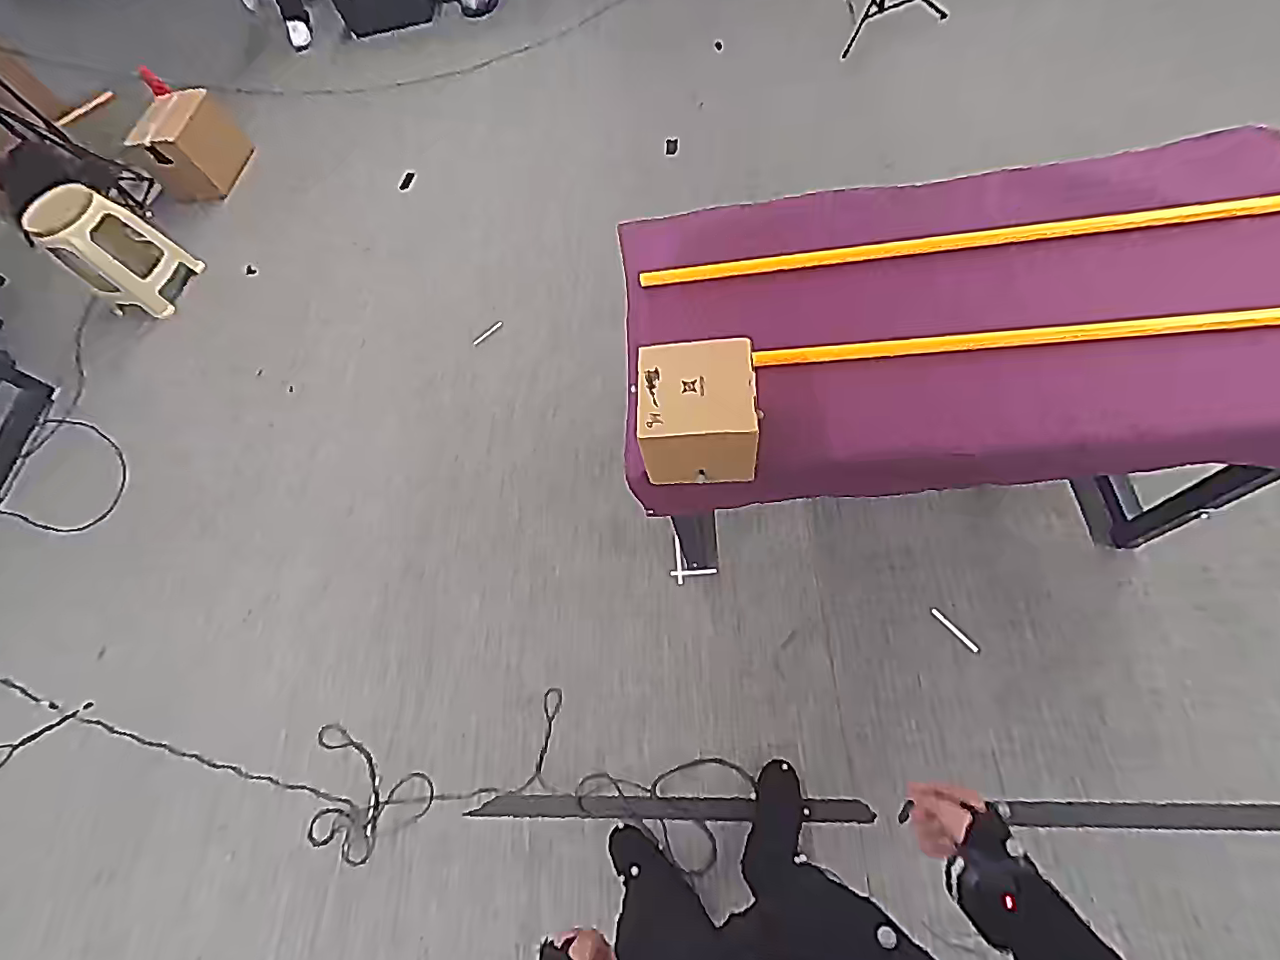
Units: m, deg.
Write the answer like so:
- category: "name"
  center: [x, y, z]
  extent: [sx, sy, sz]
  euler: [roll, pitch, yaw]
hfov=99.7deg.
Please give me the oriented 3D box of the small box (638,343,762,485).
- category: "small box"
  center: [0.096, -0.099, 0.868]
  extent: [0.179, 0.176, 0.168]
  euler: [-2, 65, 8]
